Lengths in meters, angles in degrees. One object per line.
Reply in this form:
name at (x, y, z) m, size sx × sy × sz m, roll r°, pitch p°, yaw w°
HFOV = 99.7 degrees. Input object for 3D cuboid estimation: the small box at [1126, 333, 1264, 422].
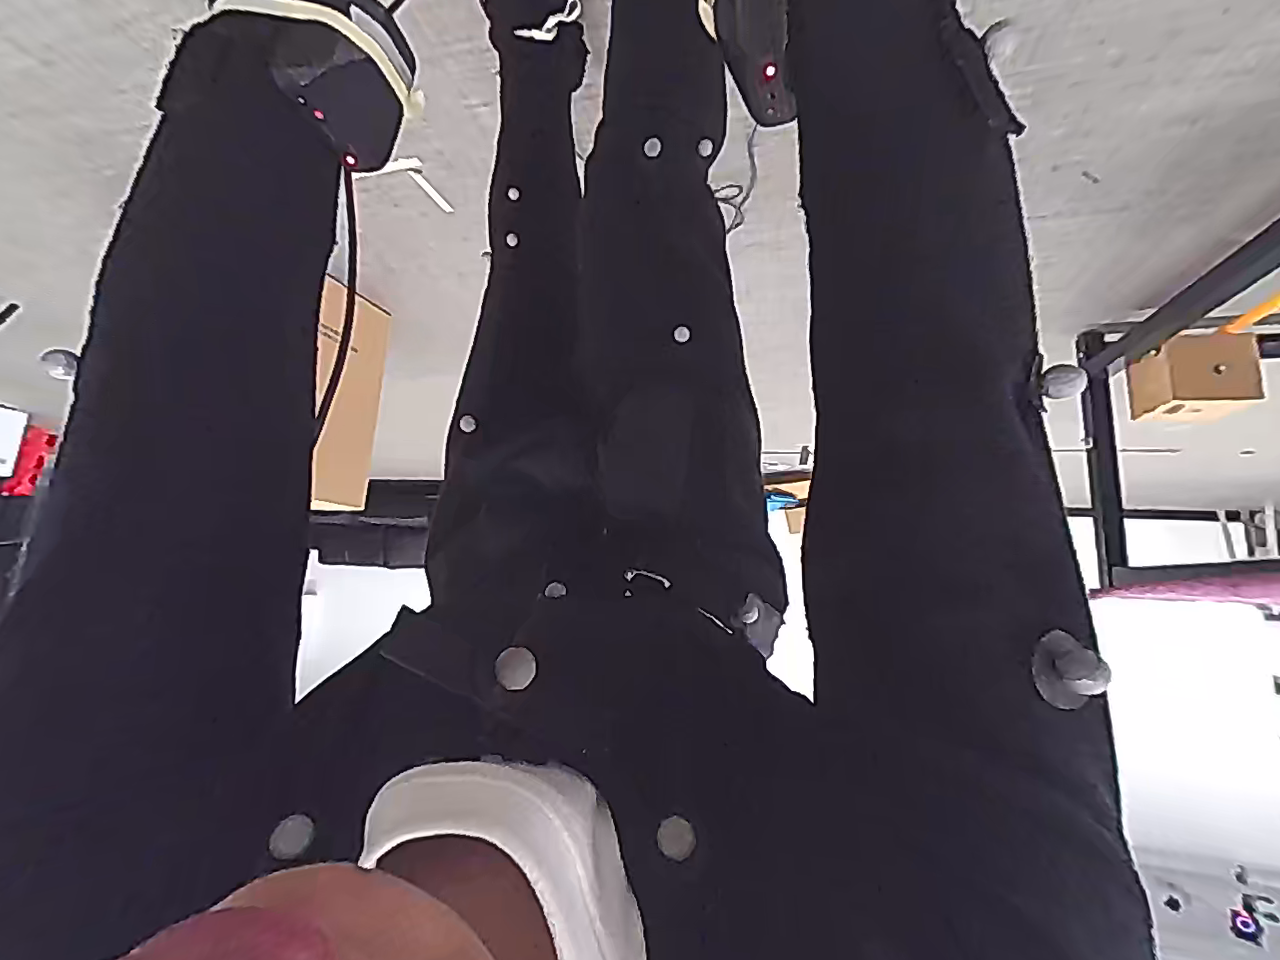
small box at (1.355, -0.251, 1.337) m, size 0.179 × 0.176 × 0.168 m, roll 0°, pitch 168°, yaw 14°
